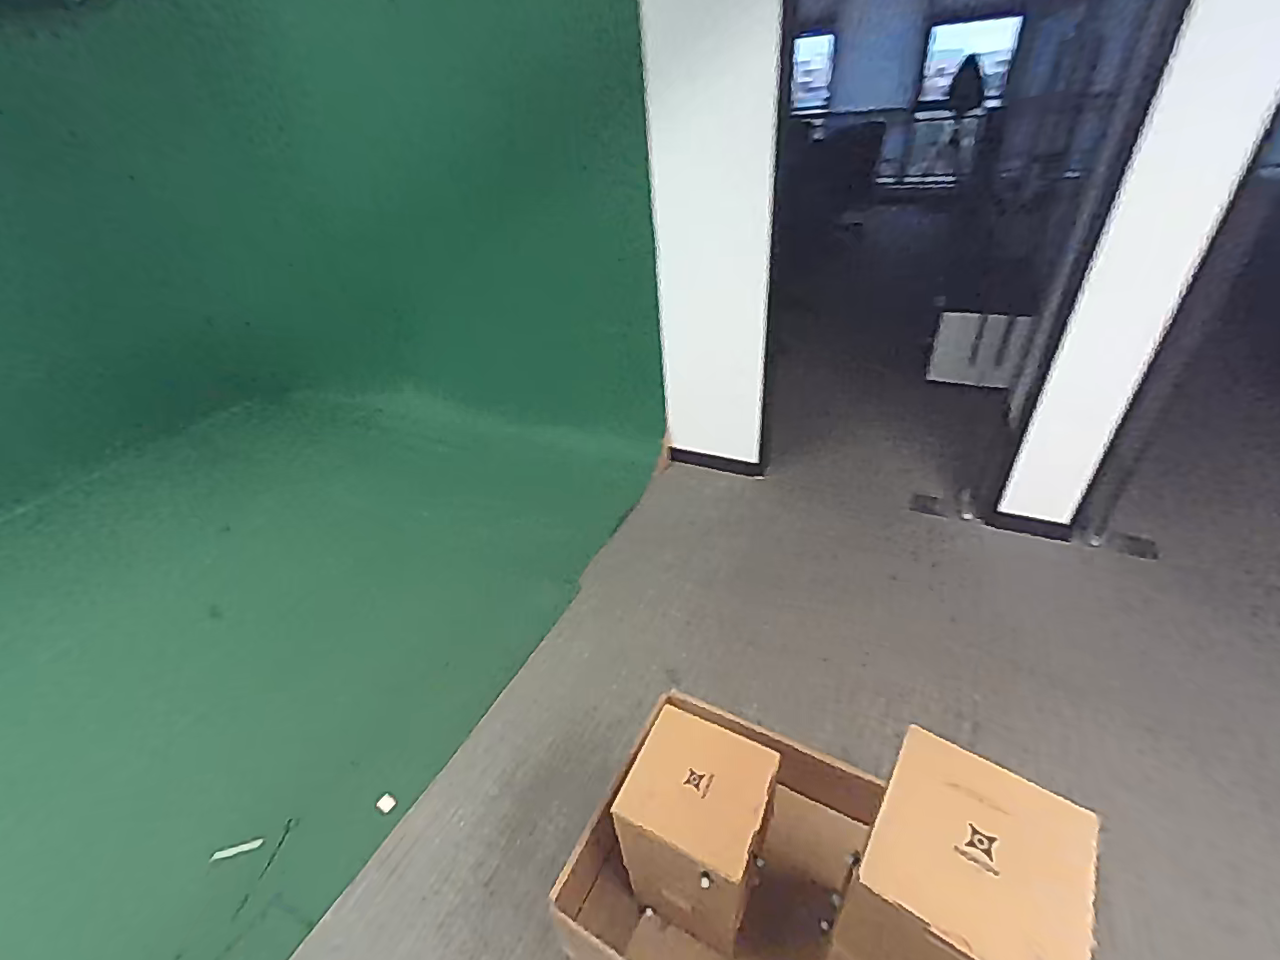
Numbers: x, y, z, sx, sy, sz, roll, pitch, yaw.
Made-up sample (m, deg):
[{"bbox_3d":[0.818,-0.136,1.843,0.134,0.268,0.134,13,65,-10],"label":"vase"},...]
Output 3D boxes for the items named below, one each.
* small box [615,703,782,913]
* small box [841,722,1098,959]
[{"bbox_3d":[0.086,0.458,0.760,0.179,0.176,0.168,14,41,25],"label":"small box"},{"bbox_3d":[0.310,0.391,0.530,0.168,0.176,0.179,20,43,32],"label":"small box"}]
